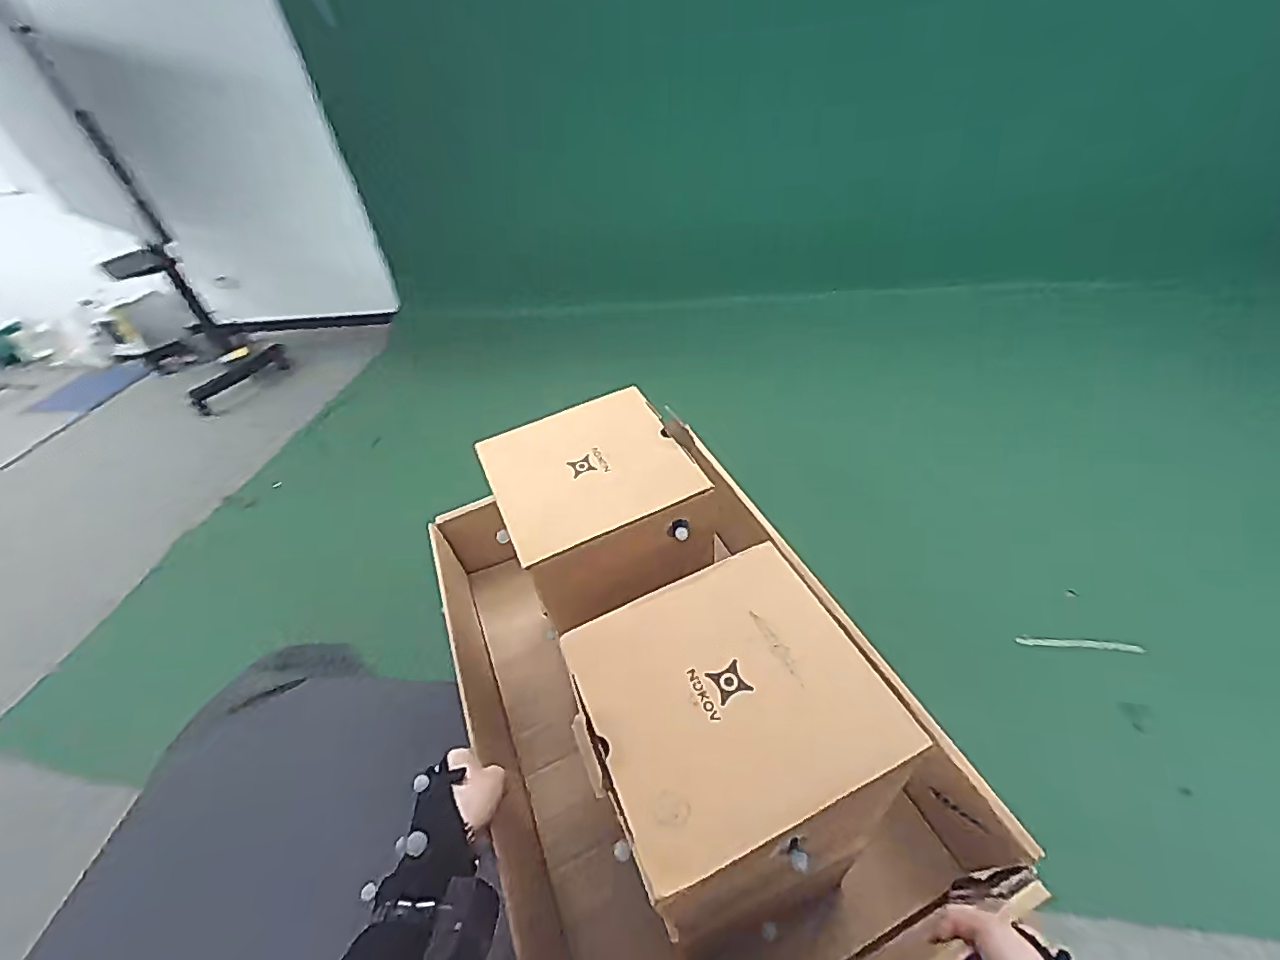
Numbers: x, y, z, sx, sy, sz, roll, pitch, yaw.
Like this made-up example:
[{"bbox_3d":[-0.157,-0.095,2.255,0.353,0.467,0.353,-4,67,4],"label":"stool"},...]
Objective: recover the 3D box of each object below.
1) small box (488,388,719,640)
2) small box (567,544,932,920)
[{"bbox_3d":[-0.031,0.040,0.553,0.179,0.176,0.168,-22,49,-12],"label":"small box"},{"bbox_3d":[0.068,0.185,0.397,0.179,0.176,0.168,-22,48,-12],"label":"small box"}]
